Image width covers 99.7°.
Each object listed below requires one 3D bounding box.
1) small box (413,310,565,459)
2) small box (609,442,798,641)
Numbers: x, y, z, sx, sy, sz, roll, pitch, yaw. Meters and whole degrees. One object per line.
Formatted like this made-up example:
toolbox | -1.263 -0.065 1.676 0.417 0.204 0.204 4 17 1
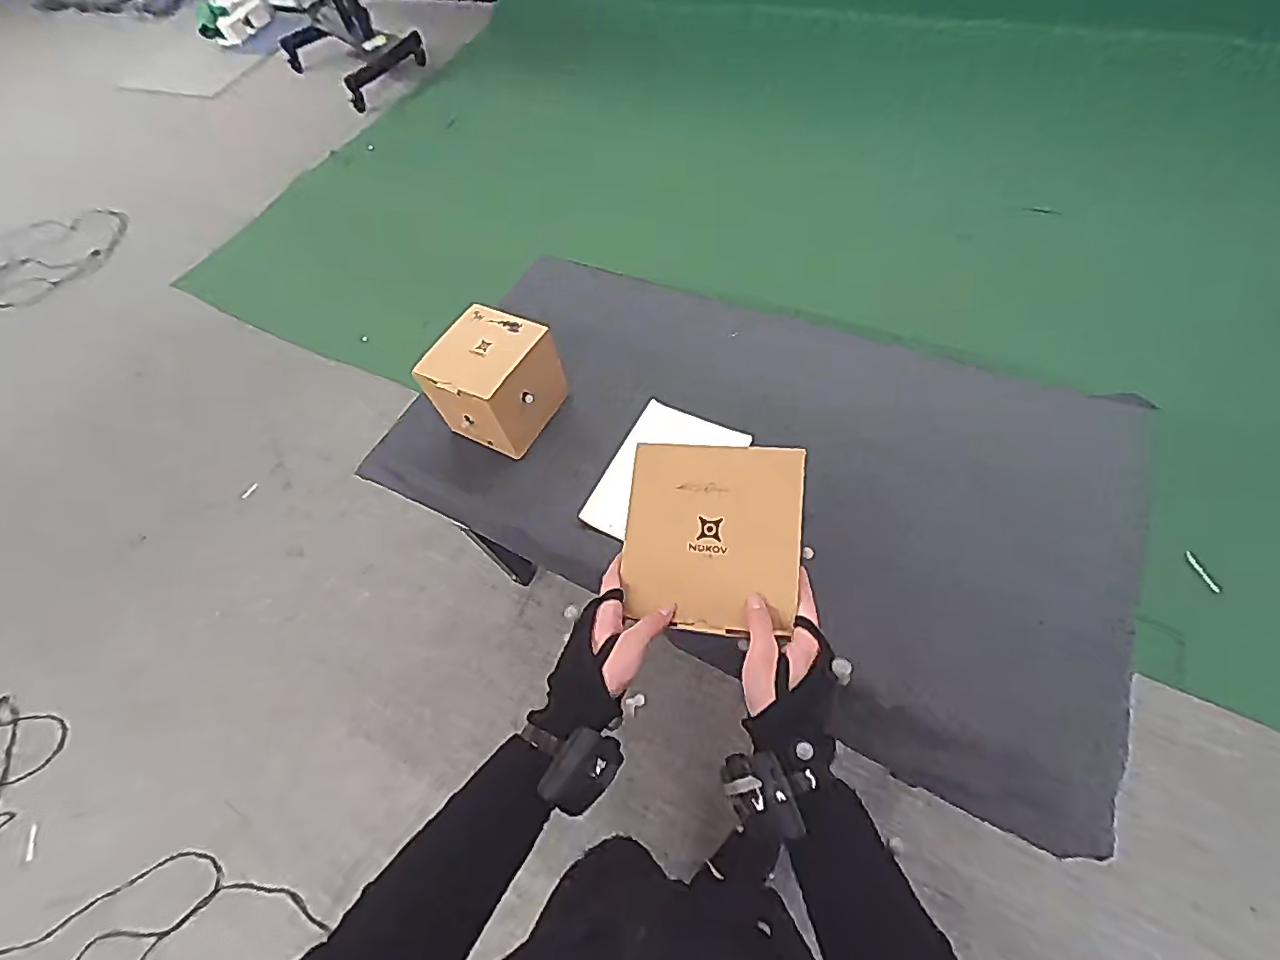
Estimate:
small box | -0.255 -0.165 0.963 0.168 0.176 0.179 23 66 19
small box | 0.076 0.071 0.571 0.168 0.176 0.179 3 74 13
